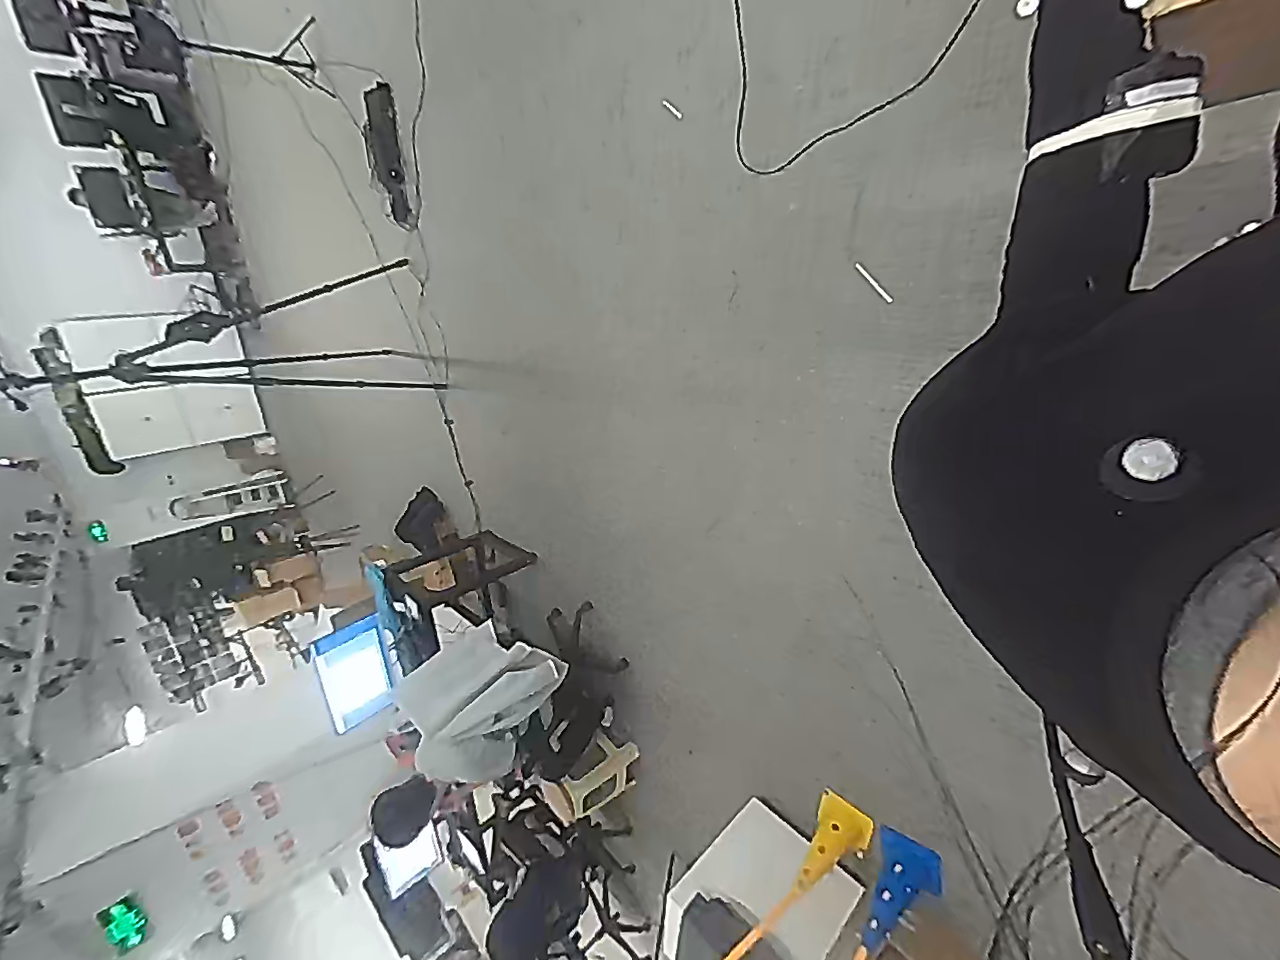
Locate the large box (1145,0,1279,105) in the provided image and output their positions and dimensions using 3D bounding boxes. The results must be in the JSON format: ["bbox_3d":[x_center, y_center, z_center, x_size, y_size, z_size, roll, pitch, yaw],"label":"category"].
[{"bbox_3d":[0.547,-0.440,0.252,0.408,0.320,0.320,12,113,45],"label":"large box"}]
